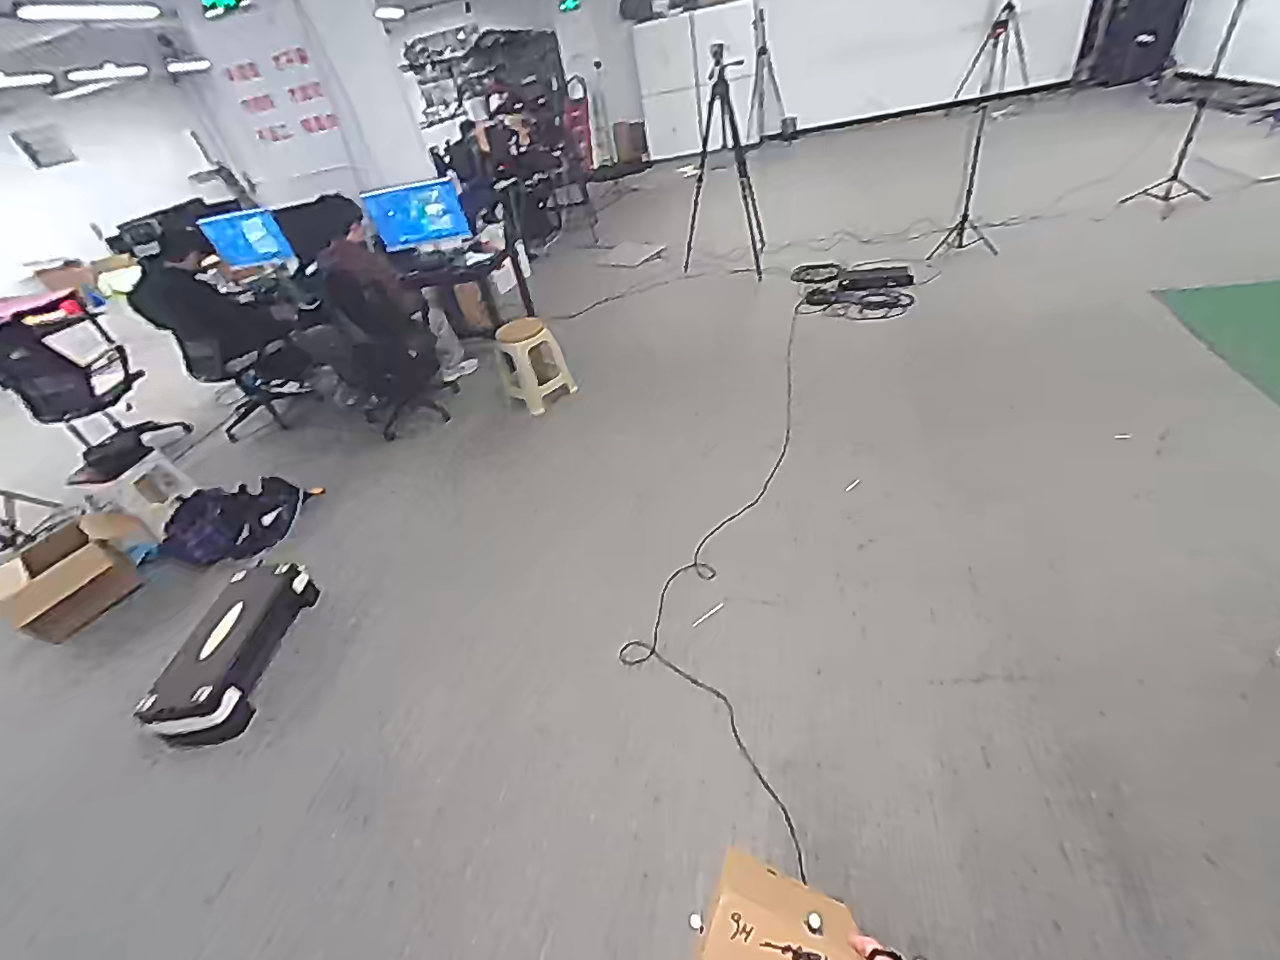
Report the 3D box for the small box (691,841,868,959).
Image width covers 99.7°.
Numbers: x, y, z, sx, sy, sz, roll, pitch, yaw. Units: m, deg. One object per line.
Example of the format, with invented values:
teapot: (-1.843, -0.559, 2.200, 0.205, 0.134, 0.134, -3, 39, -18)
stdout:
small box: (0.151, 0.568, 0.625, 0.168, 0.176, 0.179, 20, 76, 17)
